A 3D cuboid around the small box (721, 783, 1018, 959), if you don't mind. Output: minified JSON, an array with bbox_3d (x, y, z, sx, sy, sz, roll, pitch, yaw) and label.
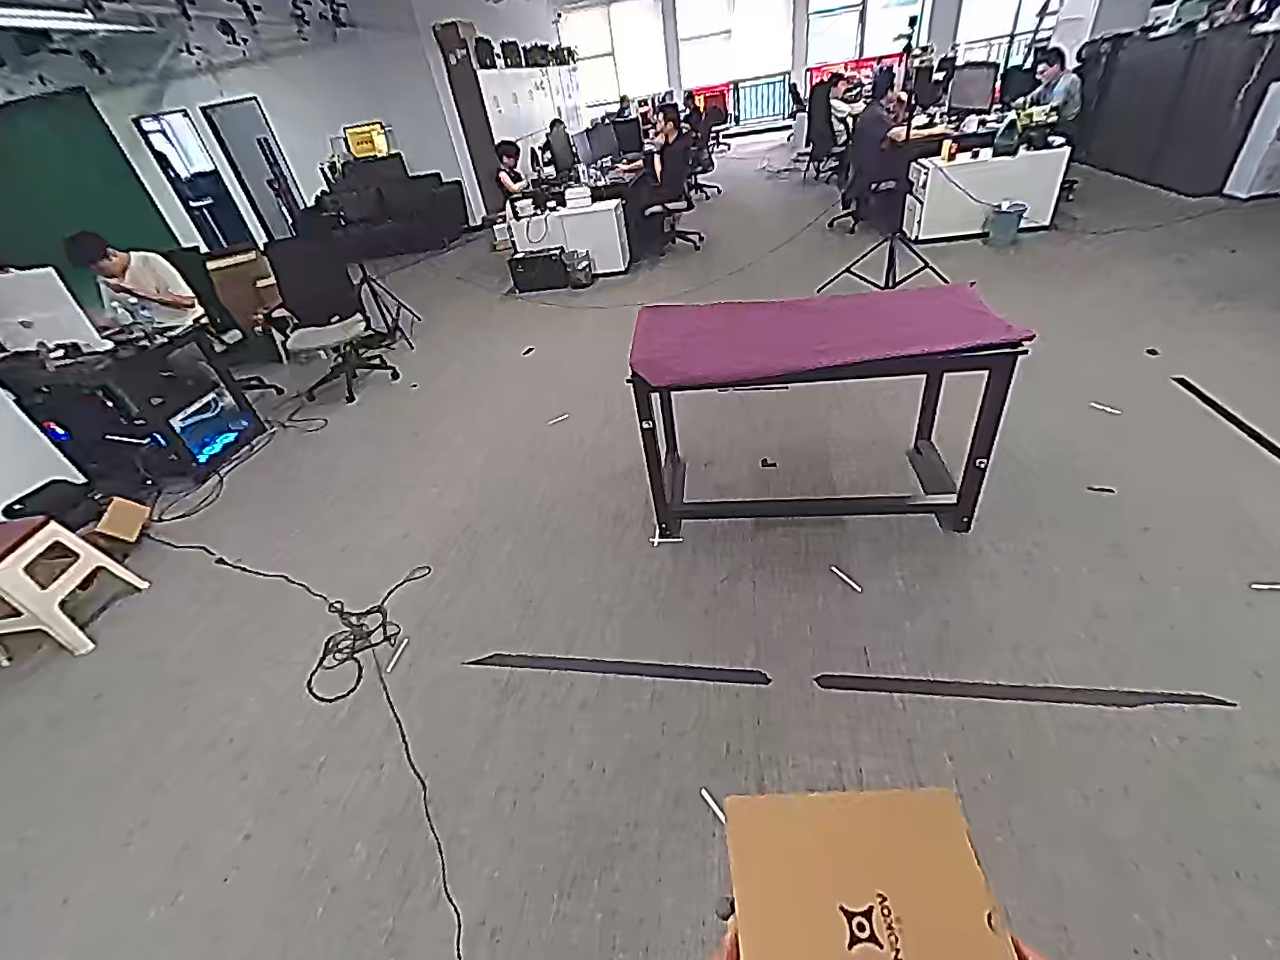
[{"bbox_3d":[0.160,0.350,0.413,0.179,0.176,0.168,-5,44,4],"label":"small box"}]
